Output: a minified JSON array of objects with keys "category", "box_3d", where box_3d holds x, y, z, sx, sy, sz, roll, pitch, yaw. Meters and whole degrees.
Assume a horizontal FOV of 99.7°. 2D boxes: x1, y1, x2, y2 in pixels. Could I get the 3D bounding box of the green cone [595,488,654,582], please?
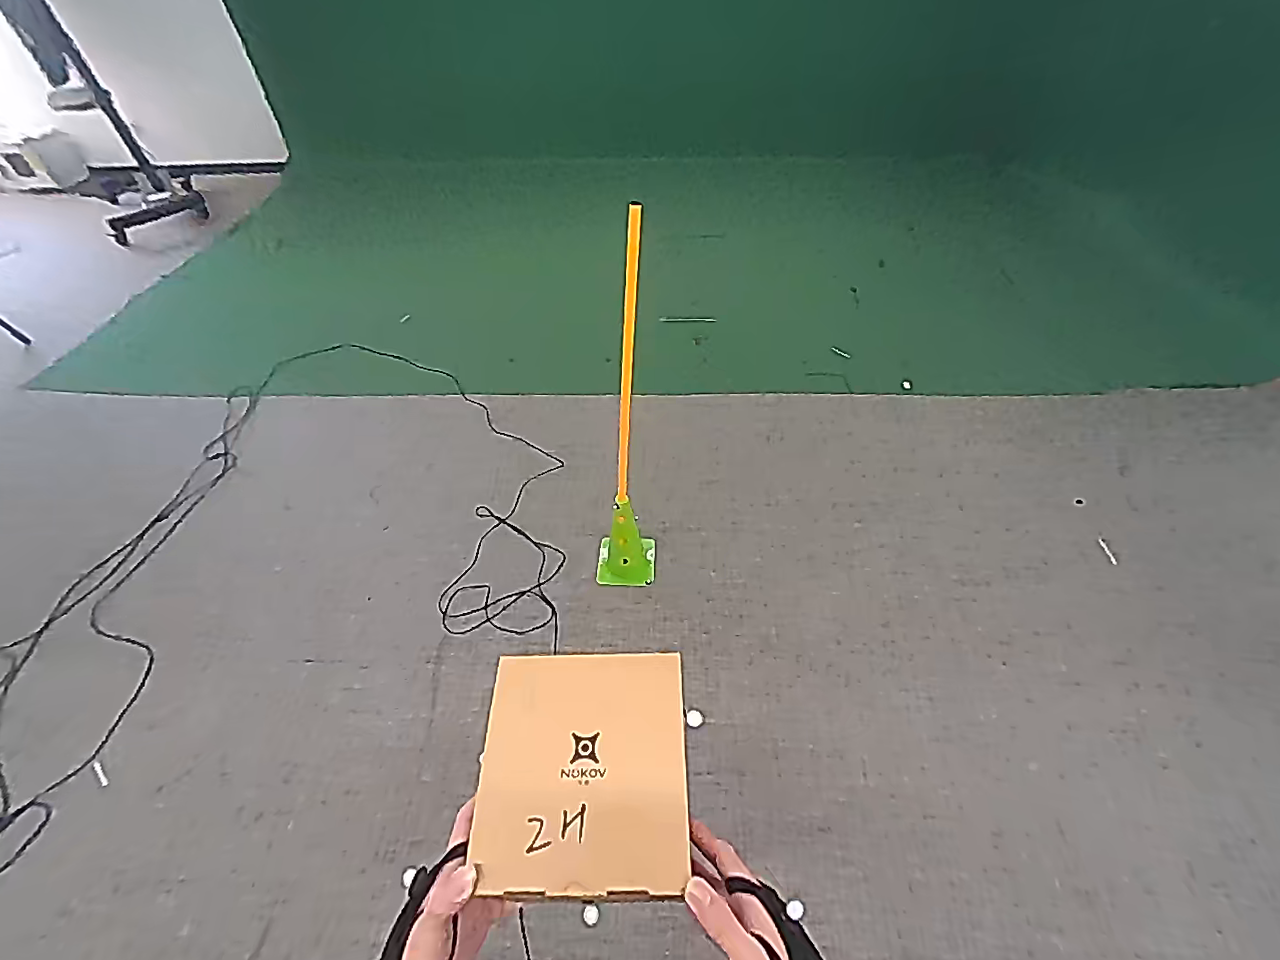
[{"category":"green cone","box_3d":[-0.059,0.156,1.789,0.202,0.368,0.200,0,47,4]}]
